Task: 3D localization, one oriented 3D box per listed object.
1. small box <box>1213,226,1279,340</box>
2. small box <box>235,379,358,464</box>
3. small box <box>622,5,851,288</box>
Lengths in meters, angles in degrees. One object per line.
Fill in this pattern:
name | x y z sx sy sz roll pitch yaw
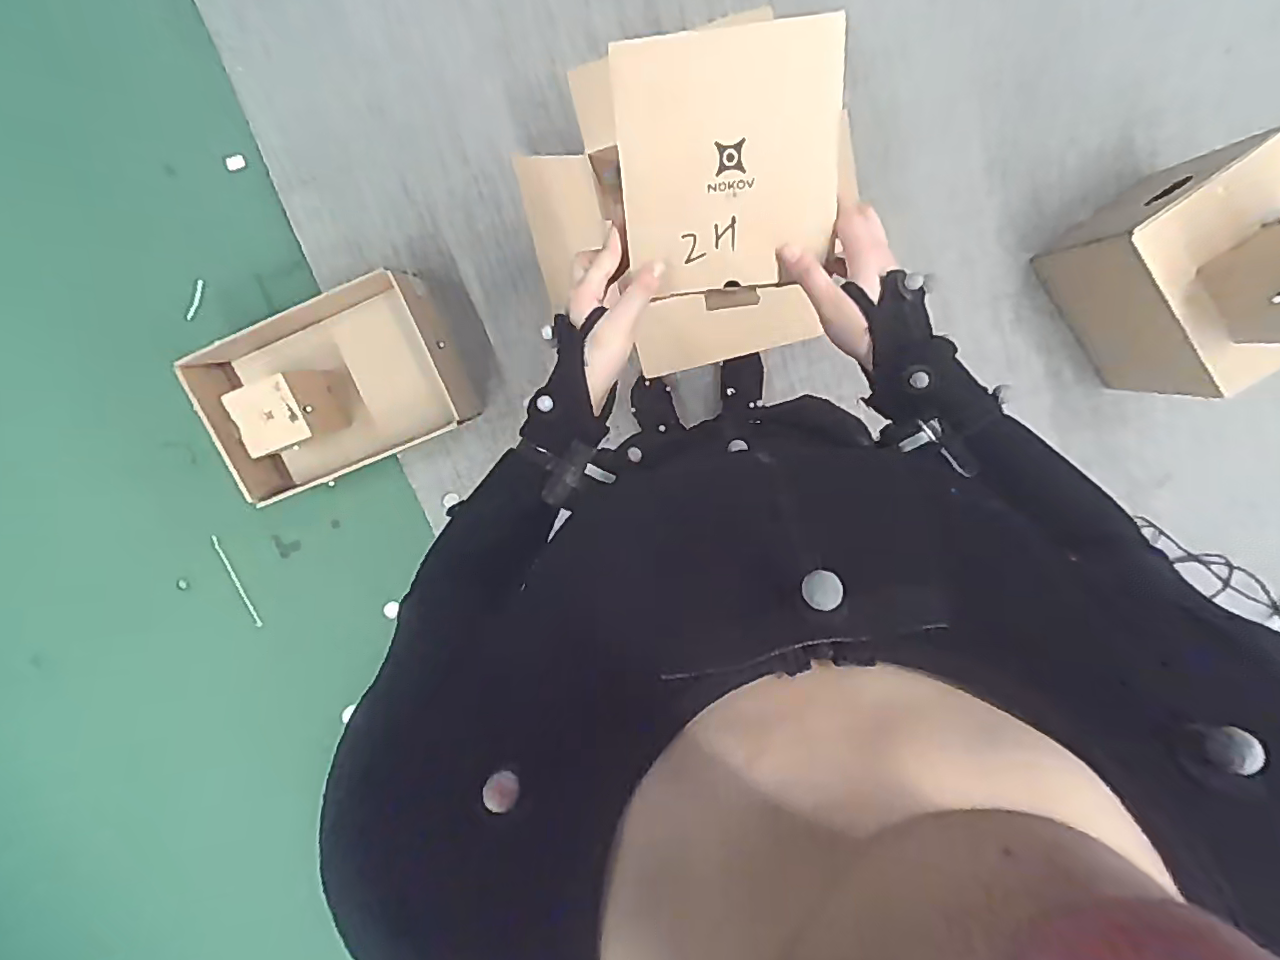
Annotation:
small box | 1.179 -0.359 0.939 0.168 0.176 0.179 -36 98 12
small box | -0.875 -0.154 1.395 0.179 0.176 0.168 -19 99 8
small box | 0.075 -0.278 0.485 0.168 0.176 0.179 -5 116 4
